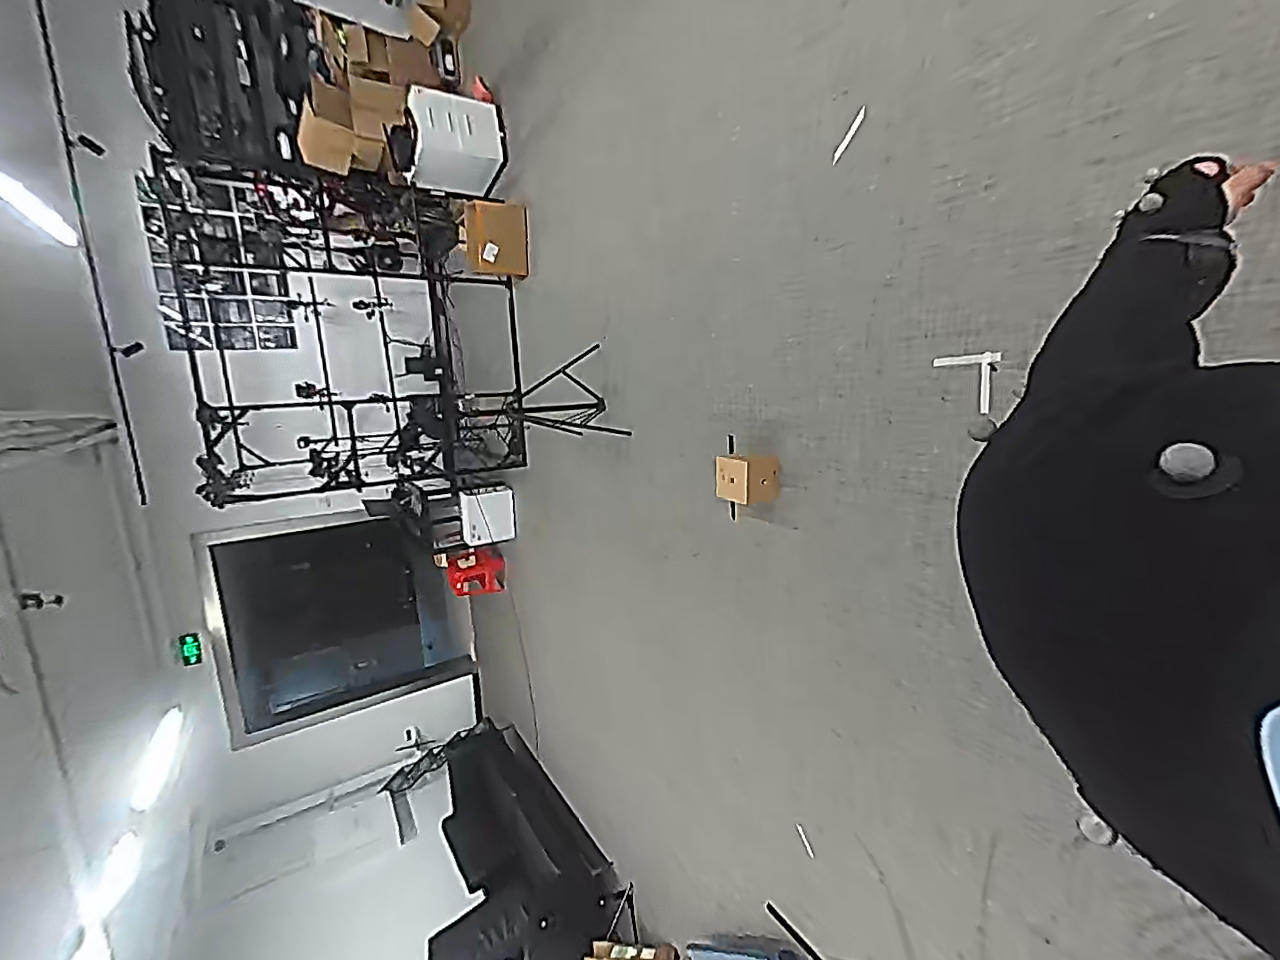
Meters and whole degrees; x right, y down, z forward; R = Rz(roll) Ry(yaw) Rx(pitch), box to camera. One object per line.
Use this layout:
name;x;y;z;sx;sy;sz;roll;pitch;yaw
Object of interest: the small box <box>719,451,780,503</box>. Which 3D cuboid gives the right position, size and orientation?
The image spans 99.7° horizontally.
small box;0.427;-0.018;2.102;0.179;0.176;0.168;18;113;56
